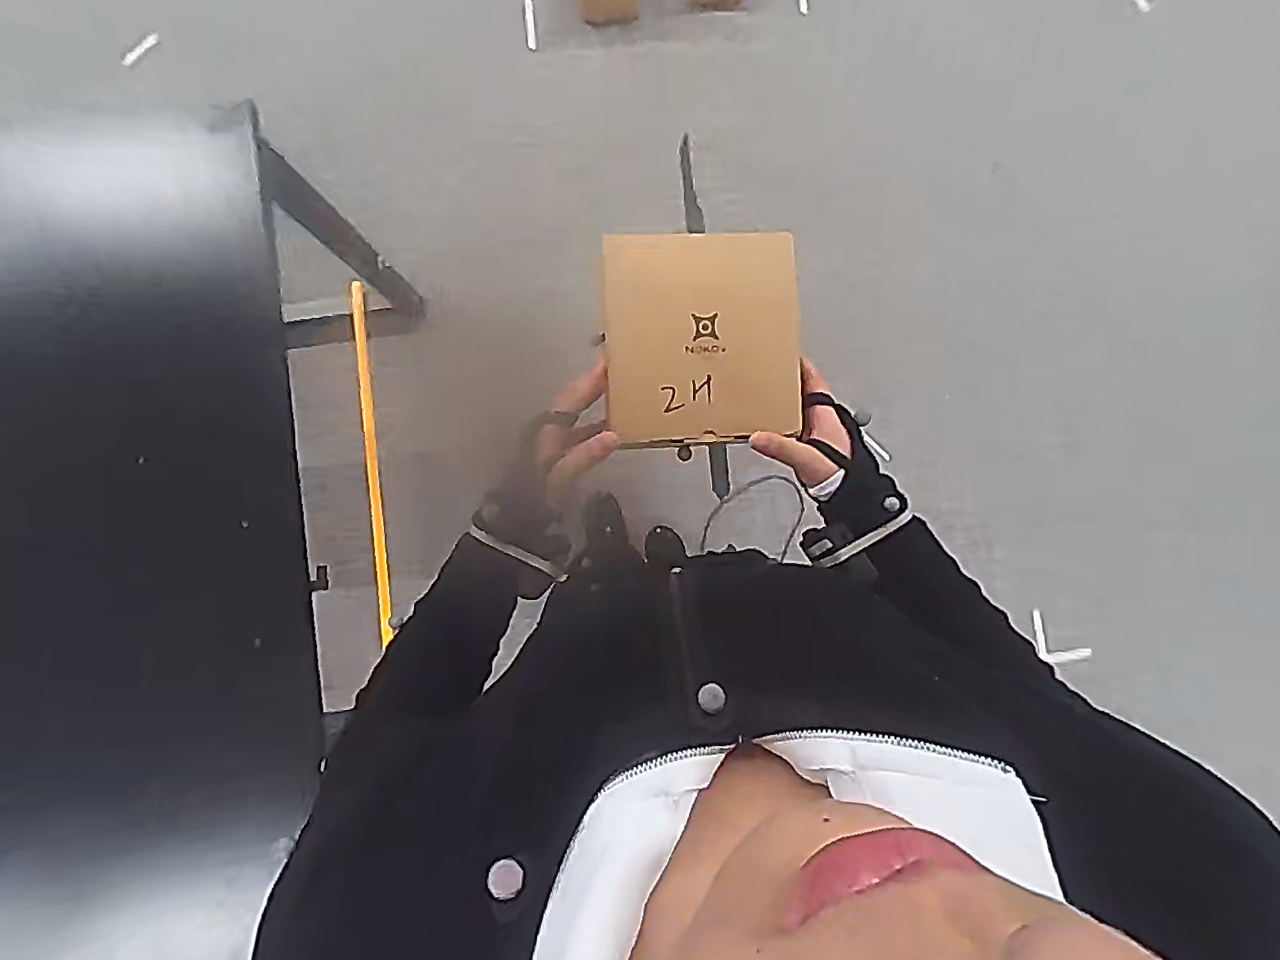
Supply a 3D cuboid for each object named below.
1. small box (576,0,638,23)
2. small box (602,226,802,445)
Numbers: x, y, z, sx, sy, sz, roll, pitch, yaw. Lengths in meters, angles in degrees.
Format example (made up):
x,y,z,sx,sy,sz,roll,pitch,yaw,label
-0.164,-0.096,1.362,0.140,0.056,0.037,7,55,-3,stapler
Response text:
x,y,z,sx,sy,sz,roll,pitch,yaw,label
-0.100,-1.408,1.487,0.179,0.176,0.168,-9,88,-2,small box
0.048,-0.128,0.536,0.168,0.176,0.179,-3,92,-5,small box
